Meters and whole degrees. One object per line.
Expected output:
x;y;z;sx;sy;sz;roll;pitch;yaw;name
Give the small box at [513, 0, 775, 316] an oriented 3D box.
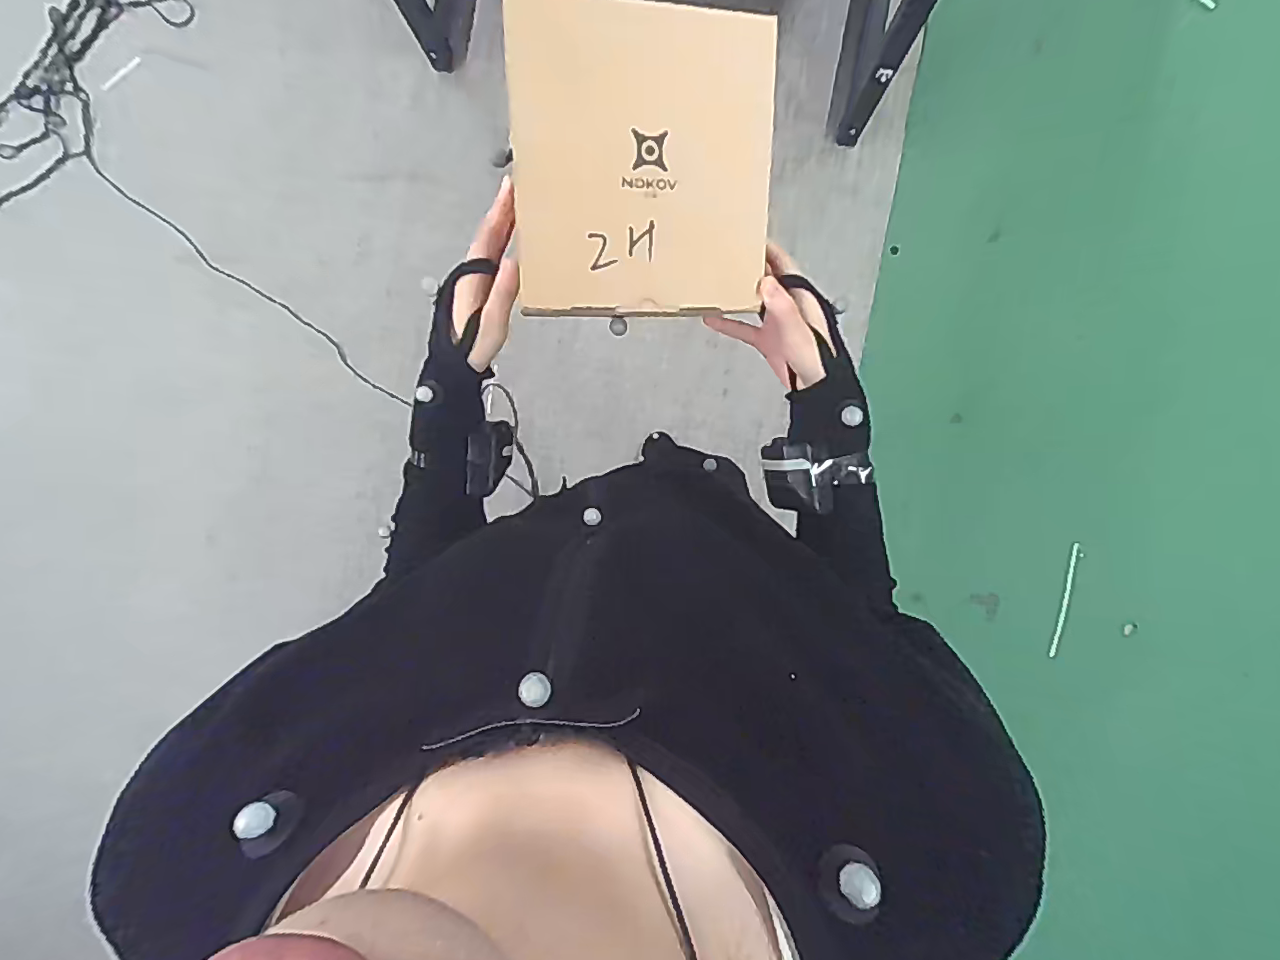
-0.011;-0.223;0.418;0.168;0.176;0.179;-3;105;-11;small box
